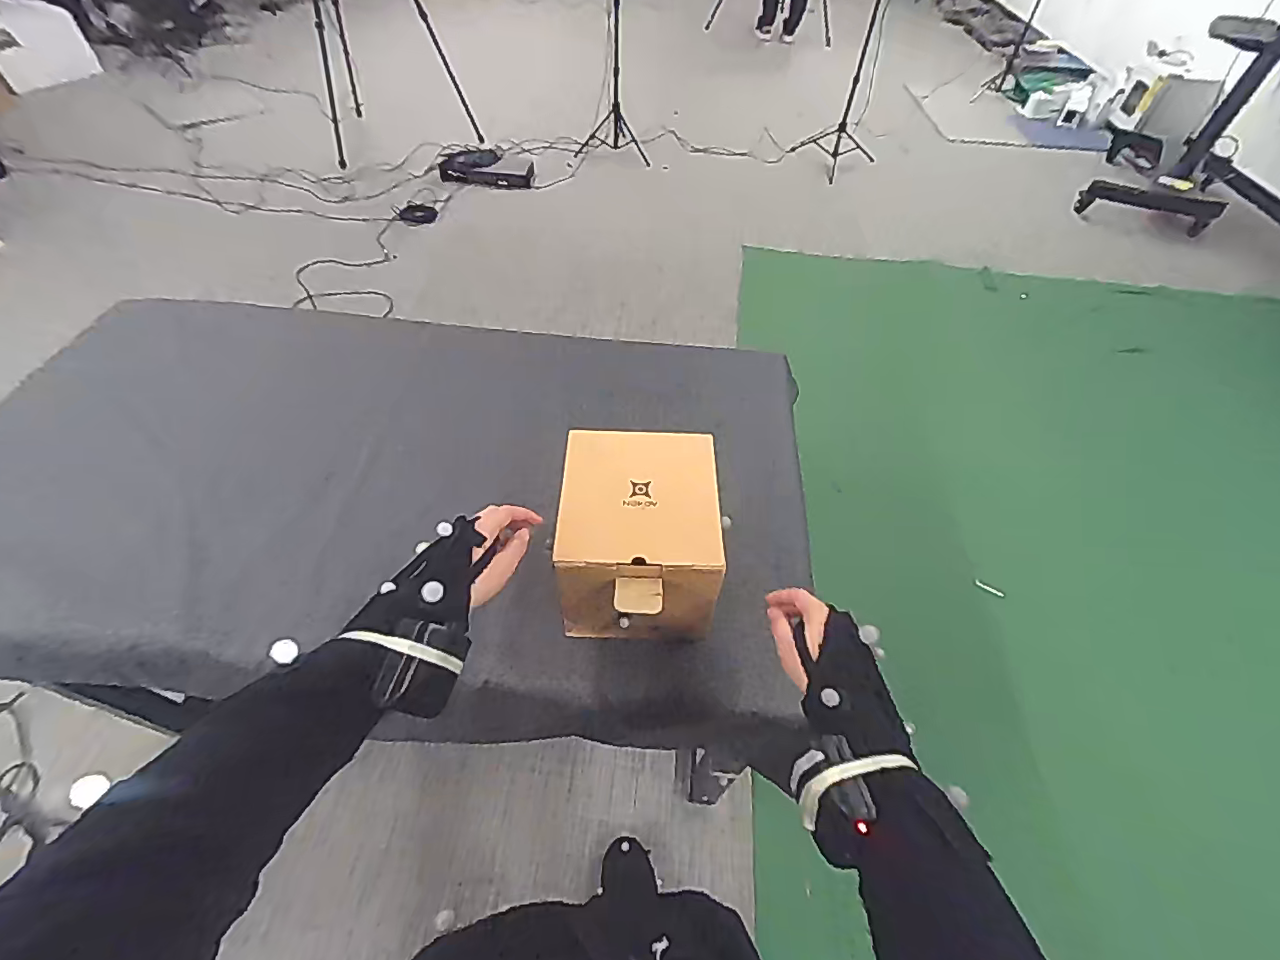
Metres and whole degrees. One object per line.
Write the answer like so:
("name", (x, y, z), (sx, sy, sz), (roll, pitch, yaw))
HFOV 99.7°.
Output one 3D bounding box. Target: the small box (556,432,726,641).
("small box", (-0.001, 0.067, 0.623), (0.168, 0.176, 0.179), (2, 51, -1))
